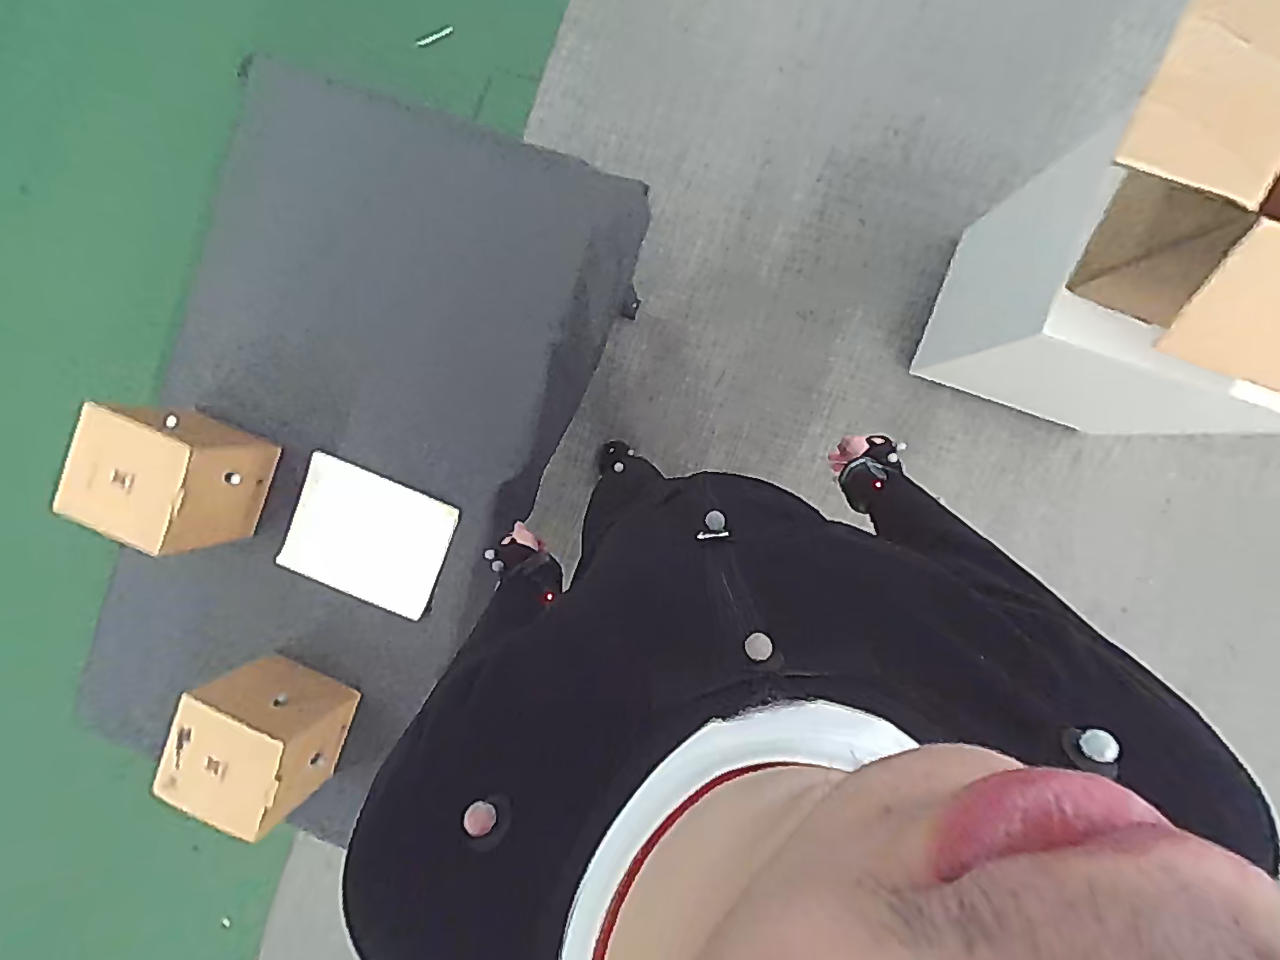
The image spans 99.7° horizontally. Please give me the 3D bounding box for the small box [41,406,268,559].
[{"bbox_3d":[-0.716,-0.002,0.818,0.179,0.176,0.168,22,95,3],"label":"small box"}]

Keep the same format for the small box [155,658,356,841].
[{"bbox_3d":[-0.588,0.407,0.851,0.179,0.176,0.168,22,95,4],"label":"small box"}]
